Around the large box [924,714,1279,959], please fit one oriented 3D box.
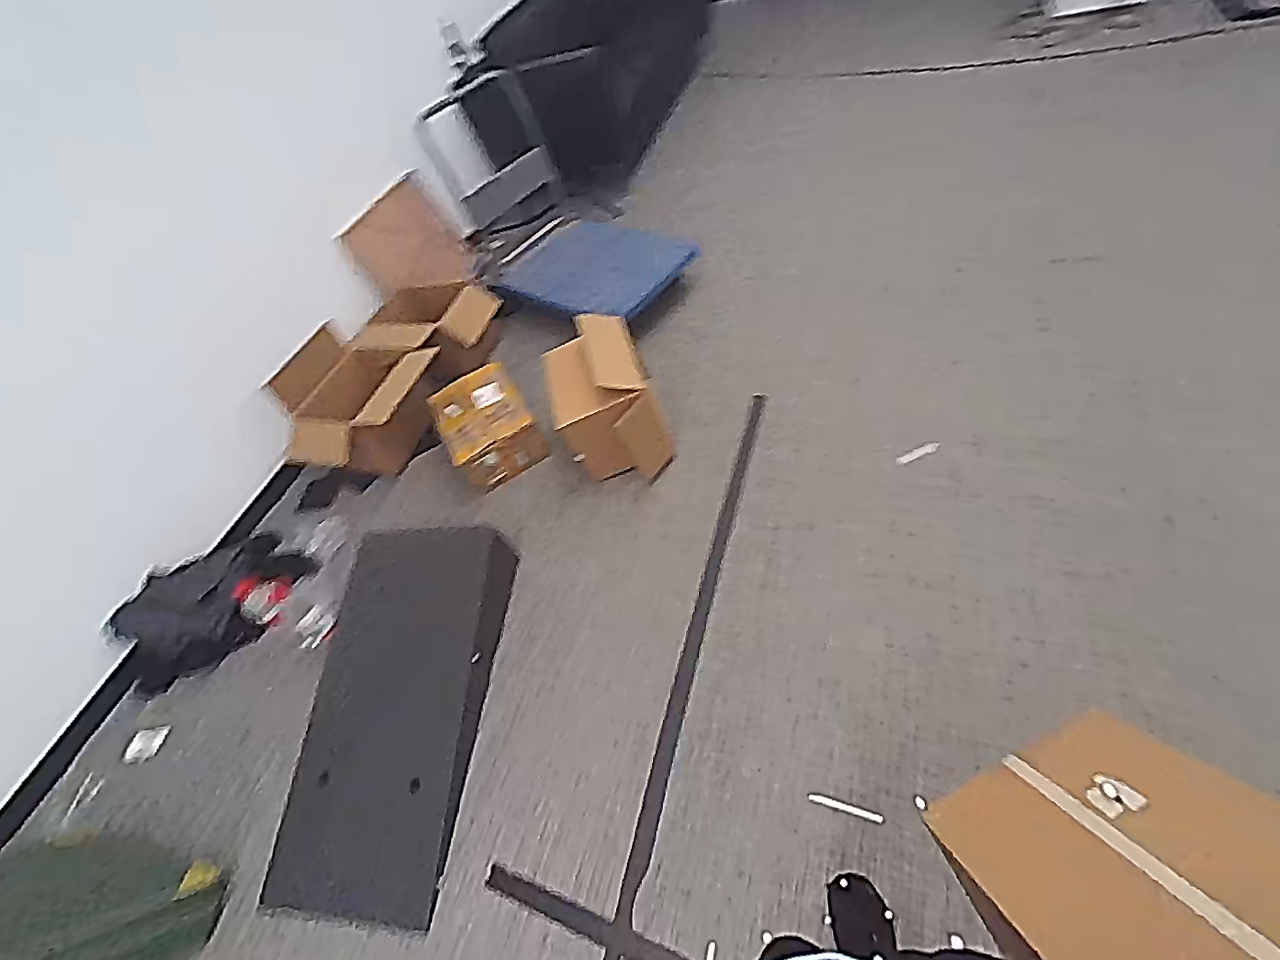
[{"bbox_3d":[0.639,0.561,0.624,0.320,0.408,0.320,-28,93,-1],"label":"large box"}]
